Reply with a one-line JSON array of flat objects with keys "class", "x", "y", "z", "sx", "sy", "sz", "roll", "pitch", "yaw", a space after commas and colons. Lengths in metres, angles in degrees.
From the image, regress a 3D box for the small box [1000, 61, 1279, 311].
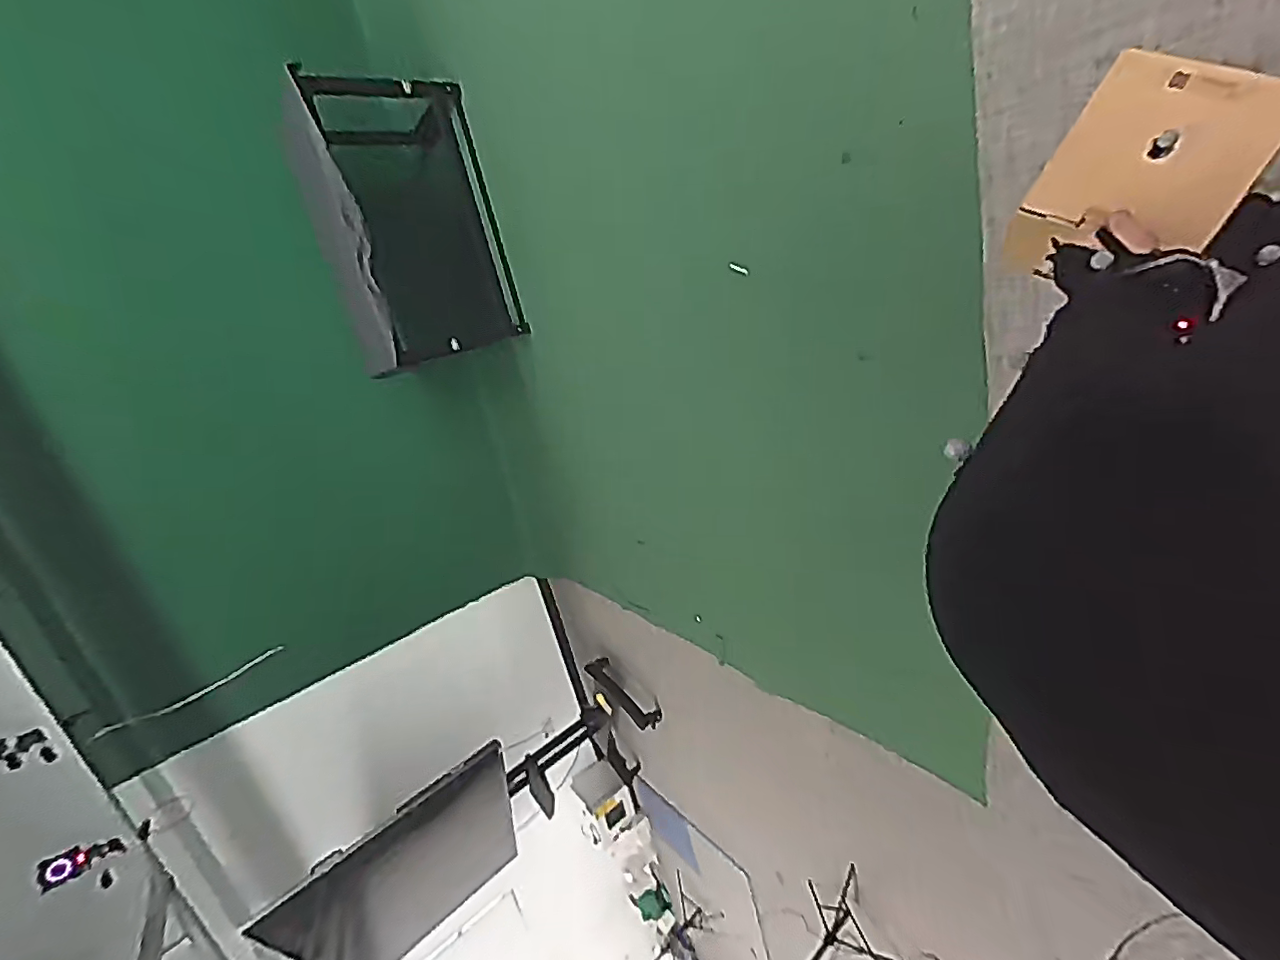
[{"class": "small box", "x": 0.550, "y": -0.321, "z": 0.608, "sx": 0.168, "sy": 0.179, "sz": 0.176, "roll": 33, "pitch": 104, "yaw": 23}]
